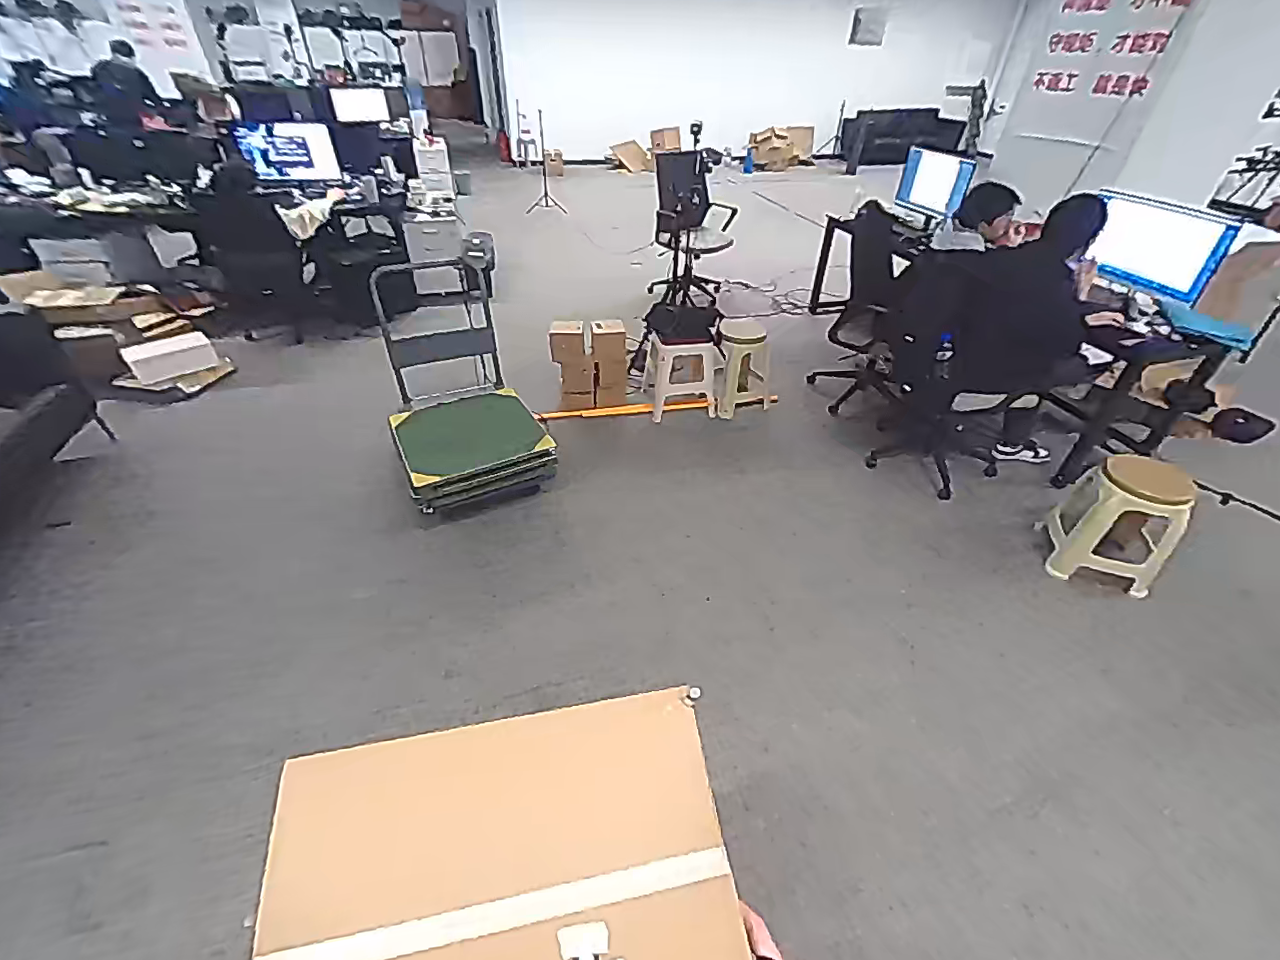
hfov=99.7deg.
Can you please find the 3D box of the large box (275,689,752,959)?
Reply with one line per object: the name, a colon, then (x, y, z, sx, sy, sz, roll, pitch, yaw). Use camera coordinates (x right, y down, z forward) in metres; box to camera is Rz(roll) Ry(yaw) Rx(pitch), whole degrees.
large box: (-0.122, 0.463, 0.601, 0.408, 0.320, 0.320, -7, 58, -9)
